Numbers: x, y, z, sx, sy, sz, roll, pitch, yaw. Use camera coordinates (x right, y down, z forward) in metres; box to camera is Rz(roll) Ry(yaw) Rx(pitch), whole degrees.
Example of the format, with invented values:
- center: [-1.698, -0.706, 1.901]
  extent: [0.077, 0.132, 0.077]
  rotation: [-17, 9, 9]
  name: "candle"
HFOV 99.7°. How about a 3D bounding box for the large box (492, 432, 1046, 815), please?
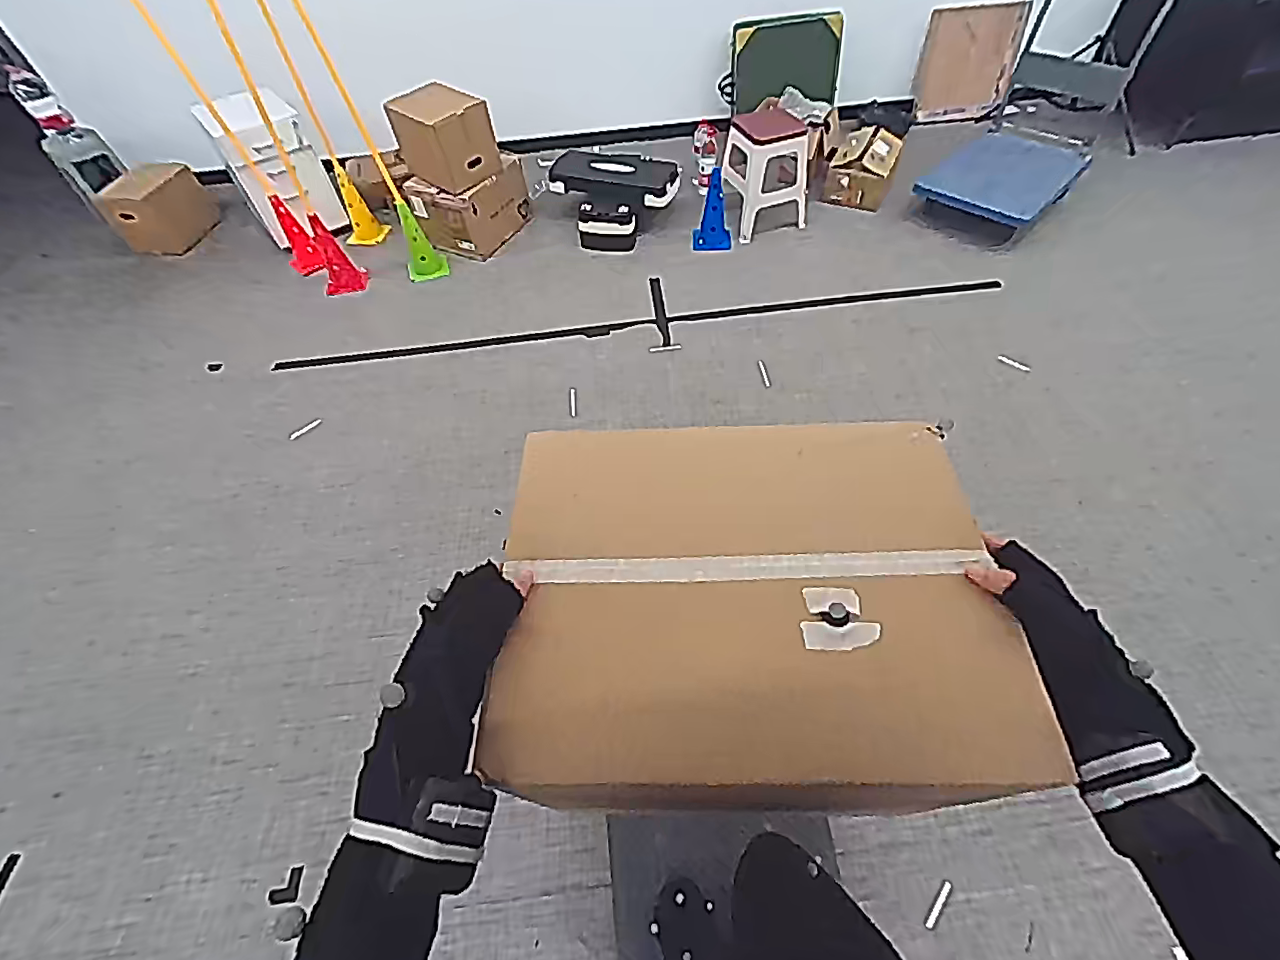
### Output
- center: [0.093, 0.169, 0.590]
  extent: [0.408, 0.320, 0.320]
  rotation: [-2, 55, 2]
  name: "large box"
